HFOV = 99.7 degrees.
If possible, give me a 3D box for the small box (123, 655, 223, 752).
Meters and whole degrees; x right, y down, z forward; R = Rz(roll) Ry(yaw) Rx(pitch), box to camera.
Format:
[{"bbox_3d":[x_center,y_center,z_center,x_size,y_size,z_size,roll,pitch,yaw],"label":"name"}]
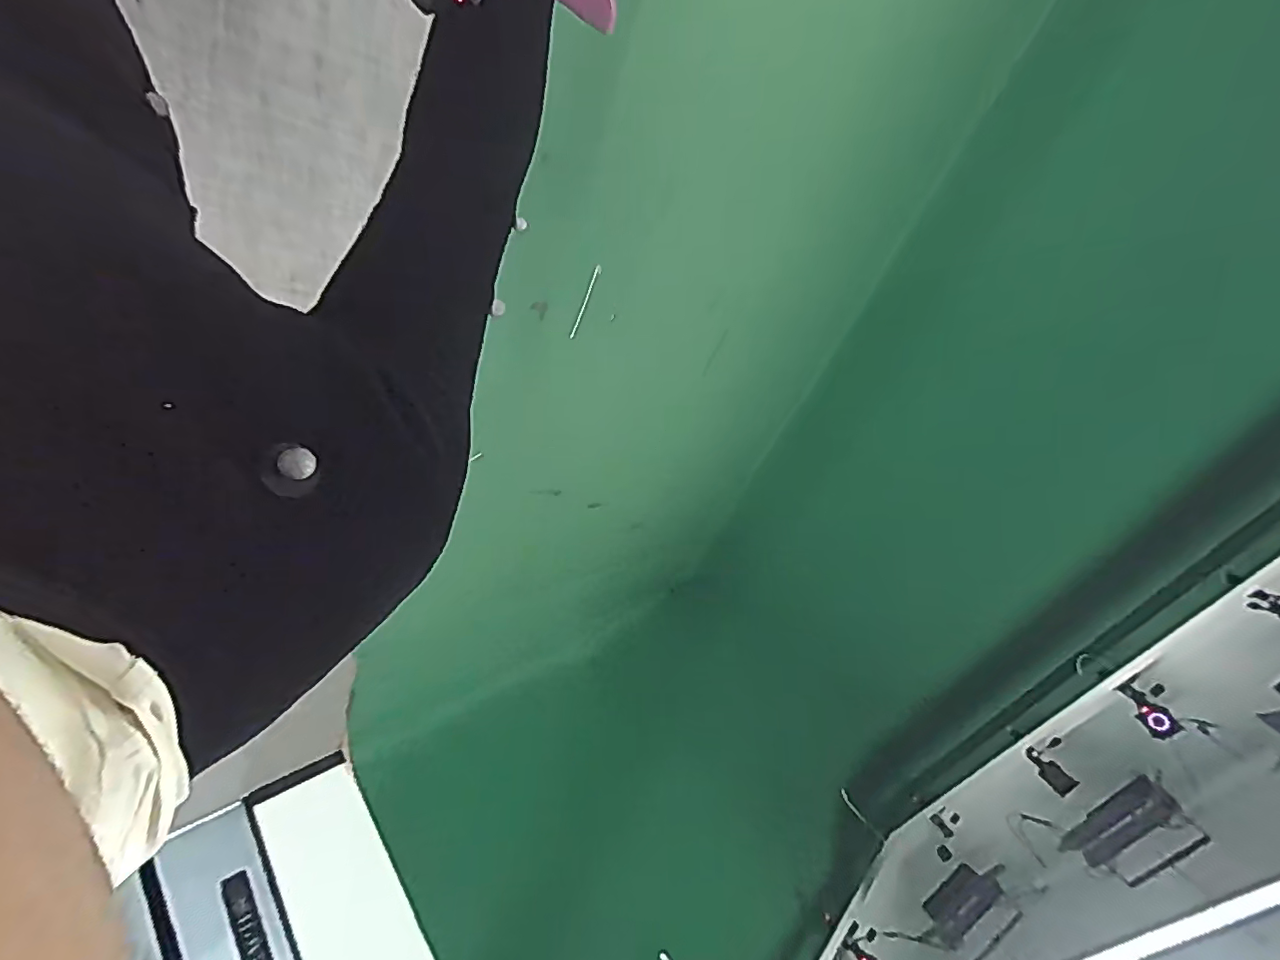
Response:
[{"bbox_3d":[-1.345,0.633,1.556,0.179,0.176,0.168,0,129,-54],"label":"small box"}]
